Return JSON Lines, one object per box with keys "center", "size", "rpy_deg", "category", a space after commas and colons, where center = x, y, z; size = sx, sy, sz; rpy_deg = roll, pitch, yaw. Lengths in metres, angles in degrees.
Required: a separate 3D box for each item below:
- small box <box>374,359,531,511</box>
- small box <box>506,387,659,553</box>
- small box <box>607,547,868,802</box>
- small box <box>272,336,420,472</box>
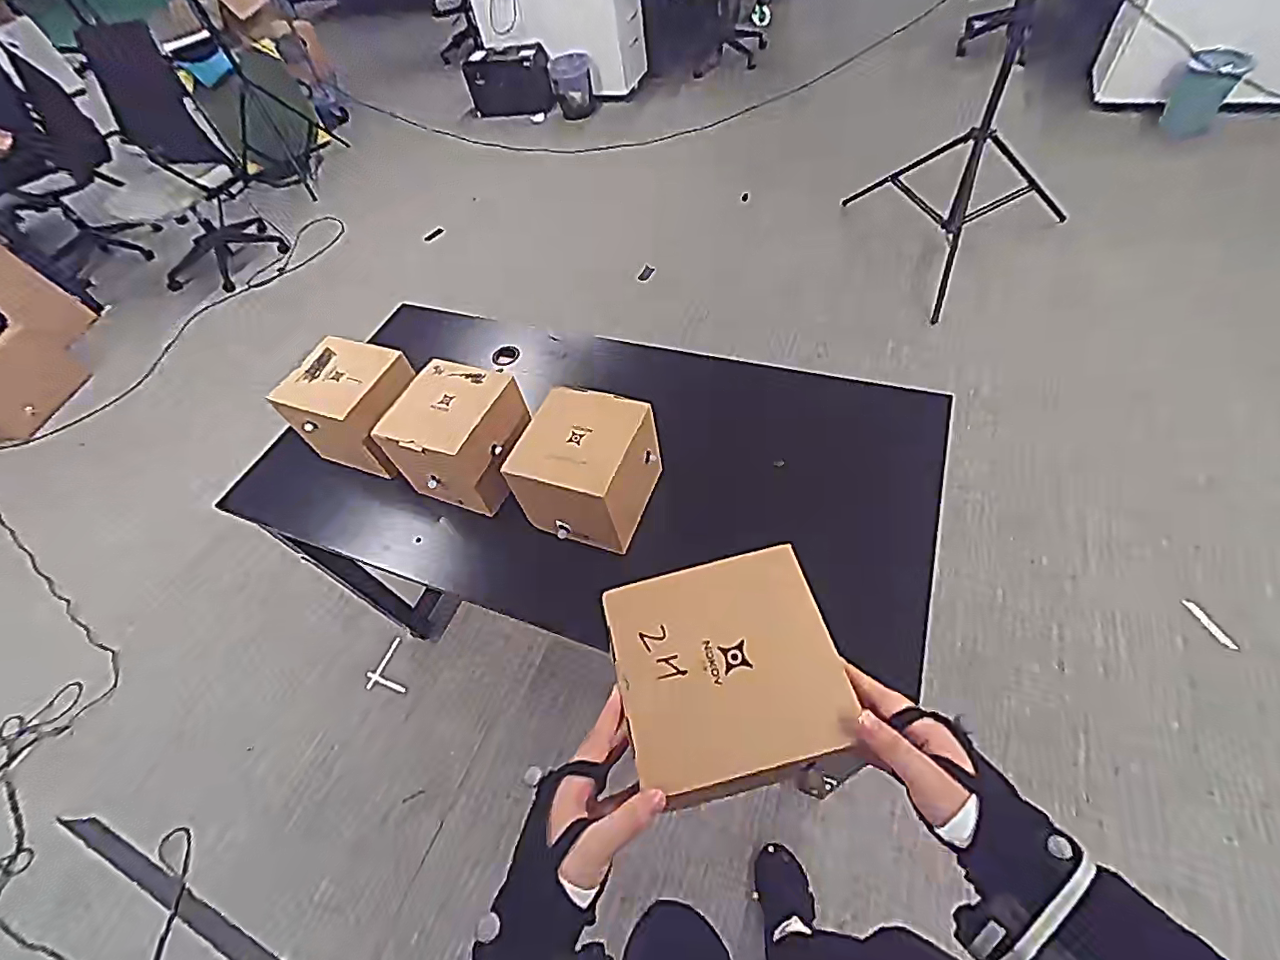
{"center": [-0.296, -0.072, 0.916], "size": [0.168, 0.176, 0.179], "rpy_deg": [16, 59, 17], "category": "small box"}
{"center": [-0.076, -0.015, 0.844], "size": [0.168, 0.176, 0.179], "rpy_deg": [13, 59, 19], "category": "small box"}
{"center": [0.078, 0.187, 0.506], "size": [0.179, 0.176, 0.168], "rpy_deg": [-14, 55, -1], "category": "small box"}
{"center": [-0.507, -0.136, 0.991], "size": [0.179, 0.176, 0.168], "rpy_deg": [15, 59, 18], "category": "small box"}
